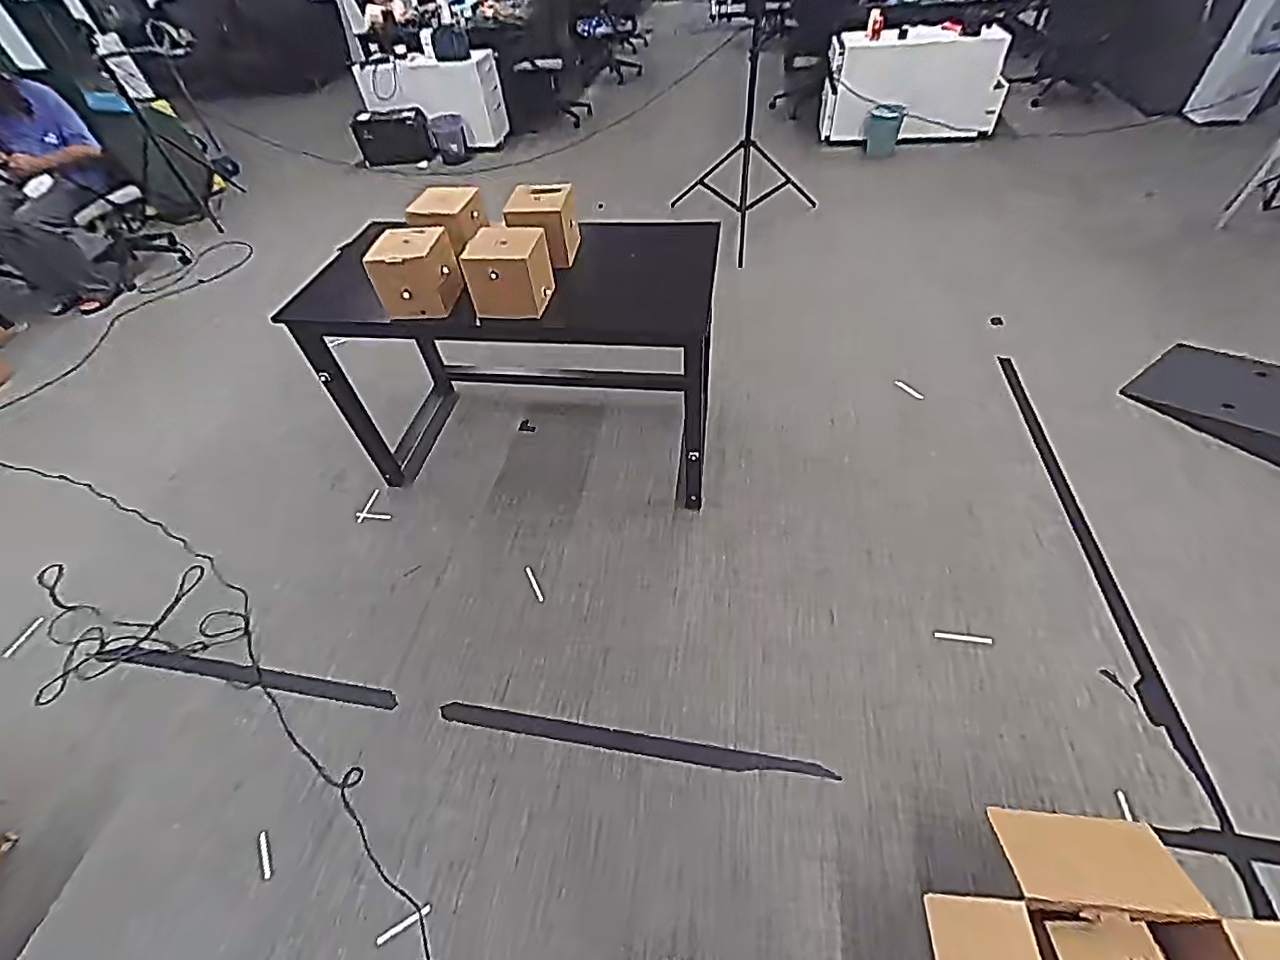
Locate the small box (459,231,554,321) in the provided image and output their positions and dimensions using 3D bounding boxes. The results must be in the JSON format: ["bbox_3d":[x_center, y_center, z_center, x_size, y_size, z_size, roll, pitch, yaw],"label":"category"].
[{"bbox_3d":[-0.341,-0.533,1.417,0.179,0.176,0.168,4,49,8],"label":"small box"}]

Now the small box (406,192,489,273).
[{"bbox_3d":[-0.565,-0.745,1.626,0.168,0.176,0.179,5,50,9],"label":"small box"}]

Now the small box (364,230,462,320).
[{"bbox_3d":[-0.596,-0.543,1.448,0.168,0.176,0.179,-1,49,5],"label":"small box"}]
